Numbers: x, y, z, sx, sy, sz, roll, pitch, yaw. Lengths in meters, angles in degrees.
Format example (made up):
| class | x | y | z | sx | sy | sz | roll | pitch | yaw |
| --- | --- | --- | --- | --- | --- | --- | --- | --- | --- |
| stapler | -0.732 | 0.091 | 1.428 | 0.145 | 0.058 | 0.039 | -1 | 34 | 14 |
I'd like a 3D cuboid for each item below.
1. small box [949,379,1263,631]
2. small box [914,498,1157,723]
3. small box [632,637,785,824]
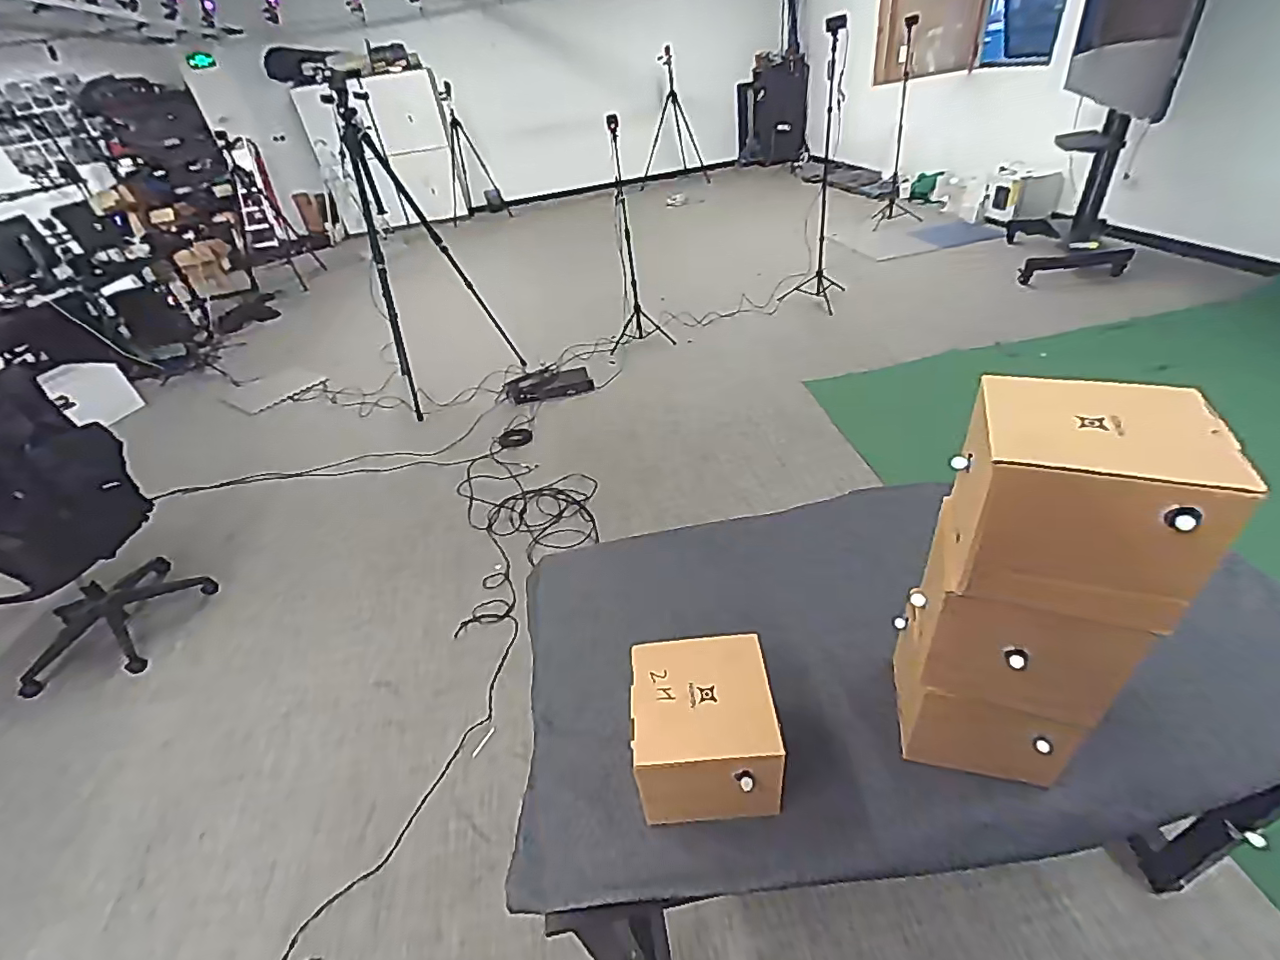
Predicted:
| class | x | y | z | sx | sy | sz | roll | pitch | yaw |
| --- | --- | --- | --- | --- | --- | --- | --- | --- | --- |
| small box | 0.410 | 0.019 | 0.522 | 0.179 | 0.176 | 0.168 | 9 | 40 | 23 |
| small box | 0.428 | 0.147 | 0.620 | 0.179 | 0.176 | 0.168 | 9 | 40 | 24 |
| small box | 0.086 | 0.335 | 0.722 | 0.179 | 0.176 | 0.168 | -7 | 37 | 4 |
